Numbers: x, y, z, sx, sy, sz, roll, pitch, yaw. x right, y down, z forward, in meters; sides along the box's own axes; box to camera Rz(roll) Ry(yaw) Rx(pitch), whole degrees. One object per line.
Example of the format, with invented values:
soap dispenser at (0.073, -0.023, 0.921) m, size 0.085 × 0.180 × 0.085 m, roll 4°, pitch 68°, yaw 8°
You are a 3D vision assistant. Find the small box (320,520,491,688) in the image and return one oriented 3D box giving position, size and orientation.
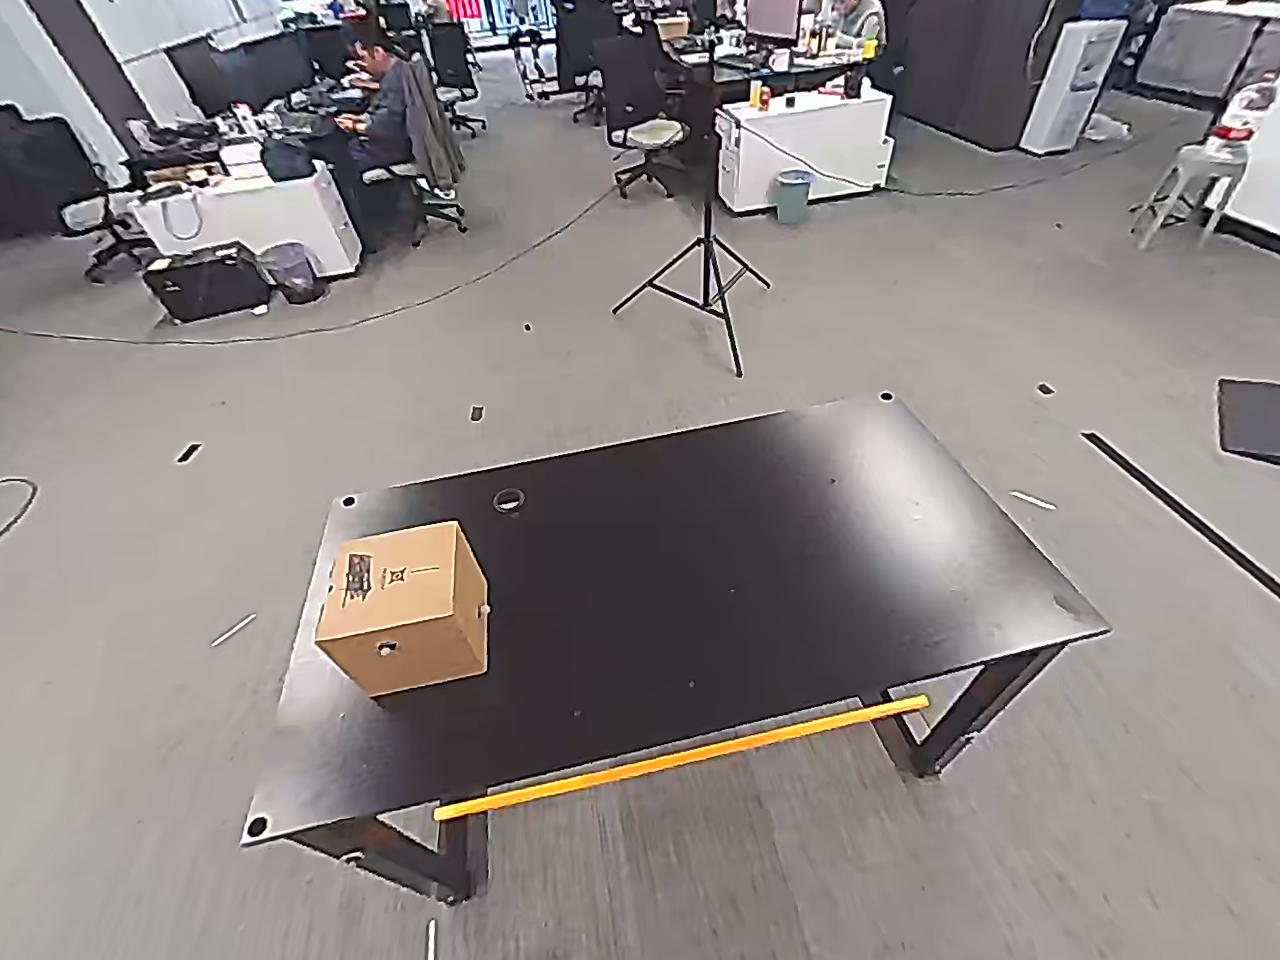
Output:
small box at (-0.332, 0.188, 0.806) m, size 0.179 × 0.176 × 0.168 m, roll -10°, pitch 46°, yaw -5°
